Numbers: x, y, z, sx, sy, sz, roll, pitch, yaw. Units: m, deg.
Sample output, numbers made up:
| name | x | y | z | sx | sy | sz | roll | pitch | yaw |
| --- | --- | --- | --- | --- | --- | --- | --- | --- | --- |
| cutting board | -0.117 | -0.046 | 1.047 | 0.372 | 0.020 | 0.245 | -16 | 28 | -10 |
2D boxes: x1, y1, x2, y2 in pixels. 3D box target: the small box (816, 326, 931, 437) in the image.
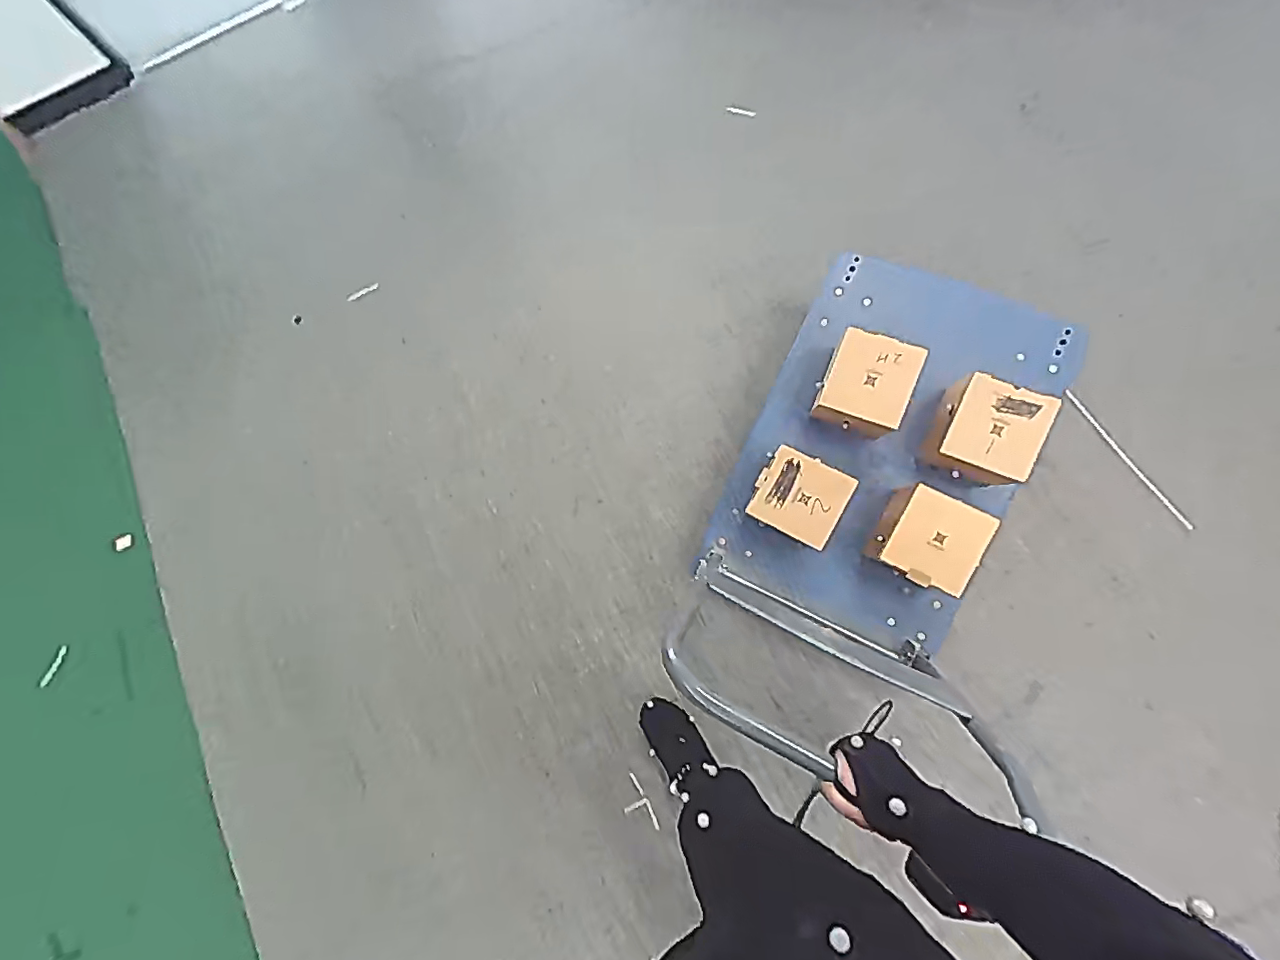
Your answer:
| name | x | y | z | sx | sy | sz | roll | pitch | yaw |
| --- | --- | --- | --- | --- | --- | --- | --- | --- | --- |
| small box | 0.496 | -0.205 | 1.179 | 0.168 | 0.176 | 0.179 | 22 | 92 | 11 |

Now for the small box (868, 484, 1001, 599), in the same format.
| name | x | y | z | sx | sy | sz | roll | pitch | yaw |
| --- | --- | --- | --- | --- | --- | --- | --- | --- | --- |
| small box | 0.606 | 0.124 | 1.142 | 0.168 | 0.176 | 0.179 | 28 | 94 | 12 |

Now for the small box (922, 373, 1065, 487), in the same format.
| name | x | y | z | sx | sy | sz | roll | pitch | yaw |
| --- | --- | --- | --- | --- | --- | --- | --- | --- | --- |
| small box | 0.720 | -0.097 | 1.127 | 0.168 | 0.176 | 0.179 | 25 | 93 | 12 |
